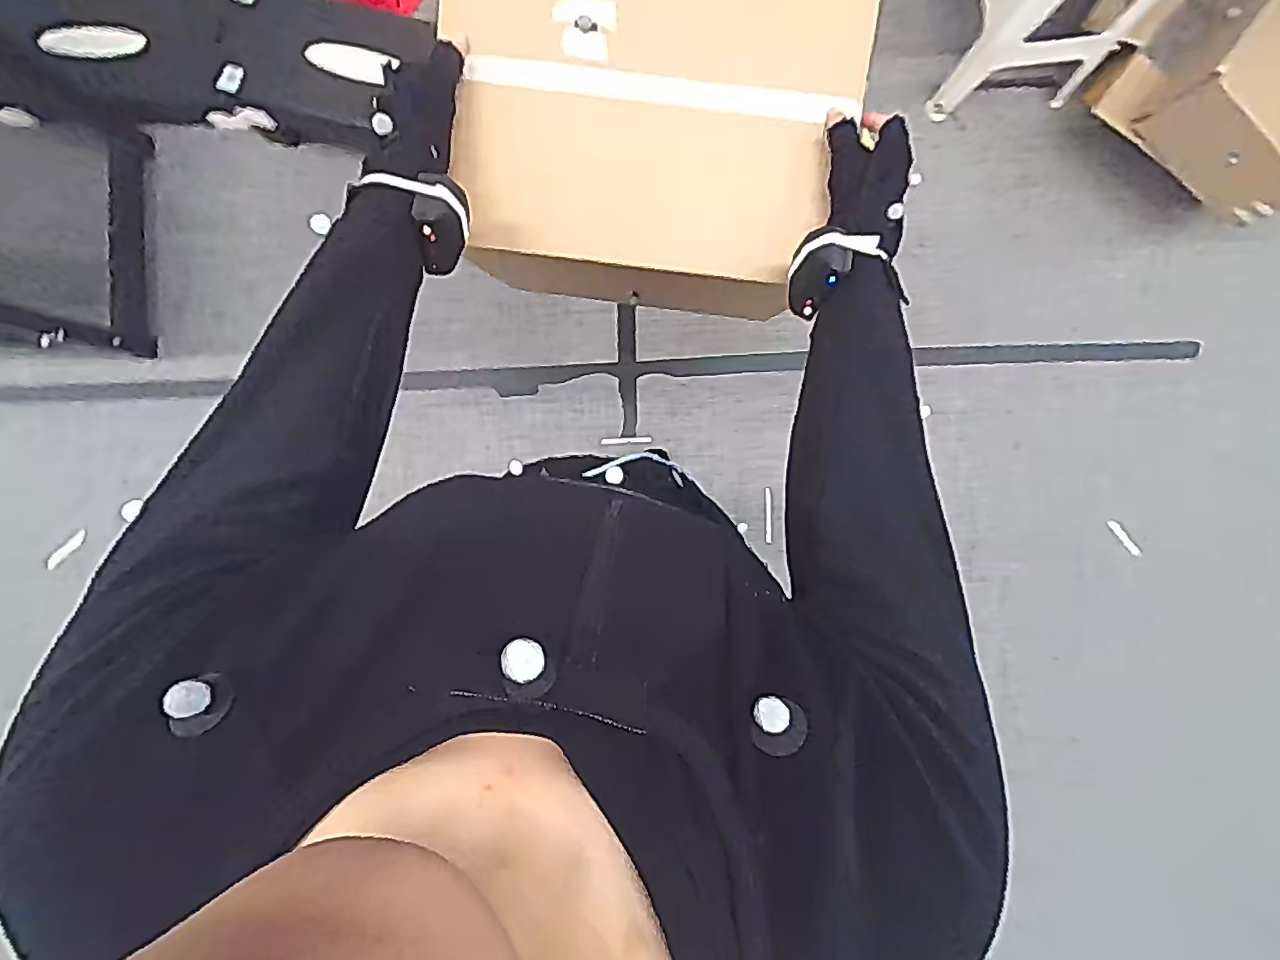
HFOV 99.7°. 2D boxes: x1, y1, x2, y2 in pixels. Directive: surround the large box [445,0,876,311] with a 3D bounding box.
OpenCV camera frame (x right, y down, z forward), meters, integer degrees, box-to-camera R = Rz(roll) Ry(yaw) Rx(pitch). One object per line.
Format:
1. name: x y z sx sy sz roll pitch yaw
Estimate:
1. large box: 0.018 -0.401 0.672 0.408 0.320 0.320 8 100 0
